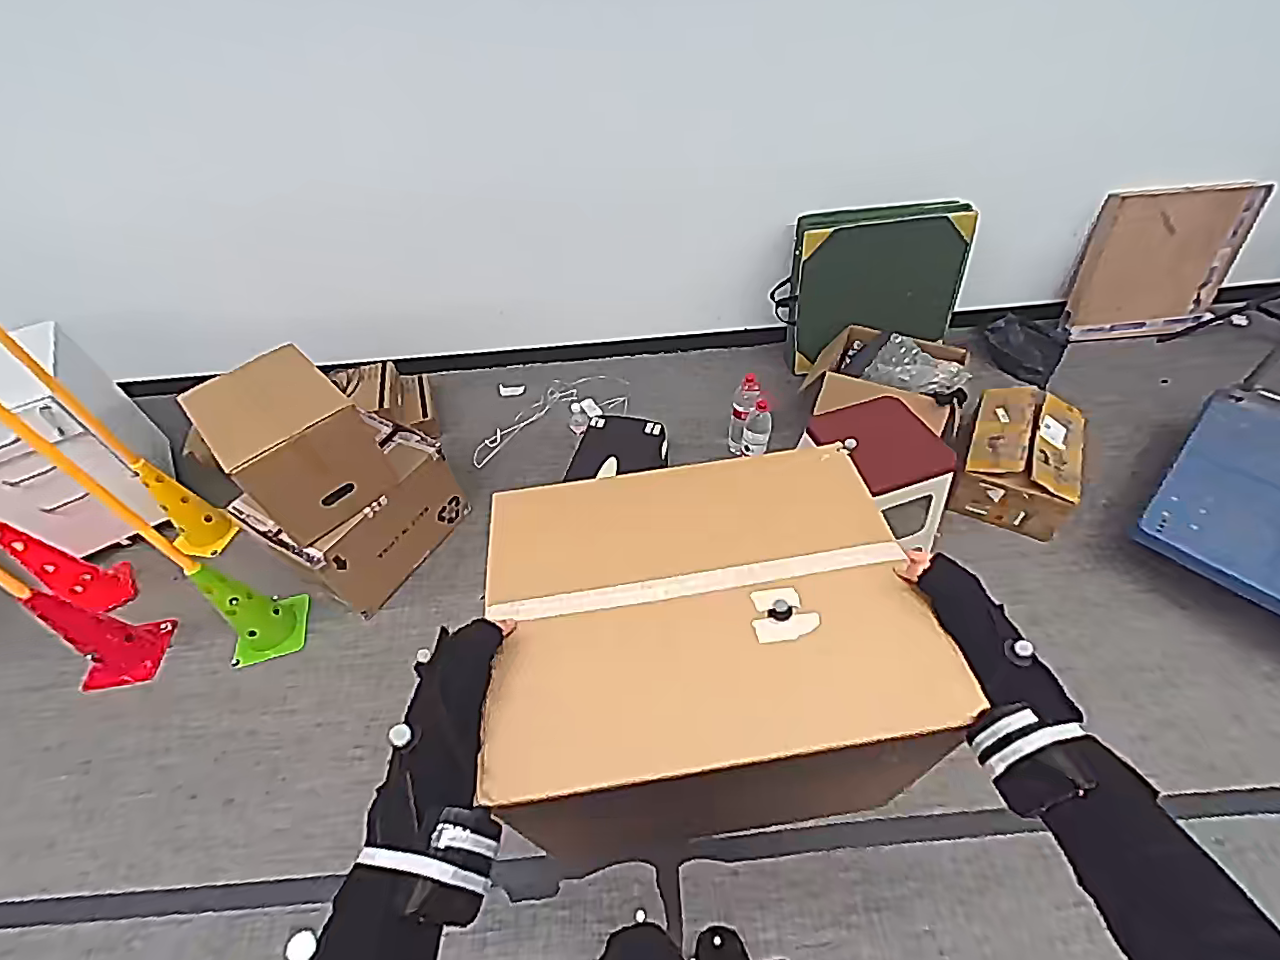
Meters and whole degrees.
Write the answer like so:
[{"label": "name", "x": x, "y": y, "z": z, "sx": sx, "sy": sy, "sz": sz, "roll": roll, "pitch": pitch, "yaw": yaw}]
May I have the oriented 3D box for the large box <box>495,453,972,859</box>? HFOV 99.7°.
[{"label": "large box", "x": 0.067, "y": 0.208, "z": 0.641, "sx": 0.408, "sy": 0.320, "sz": 0.320, "roll": -8, "pitch": 48, "yaw": -3}]
